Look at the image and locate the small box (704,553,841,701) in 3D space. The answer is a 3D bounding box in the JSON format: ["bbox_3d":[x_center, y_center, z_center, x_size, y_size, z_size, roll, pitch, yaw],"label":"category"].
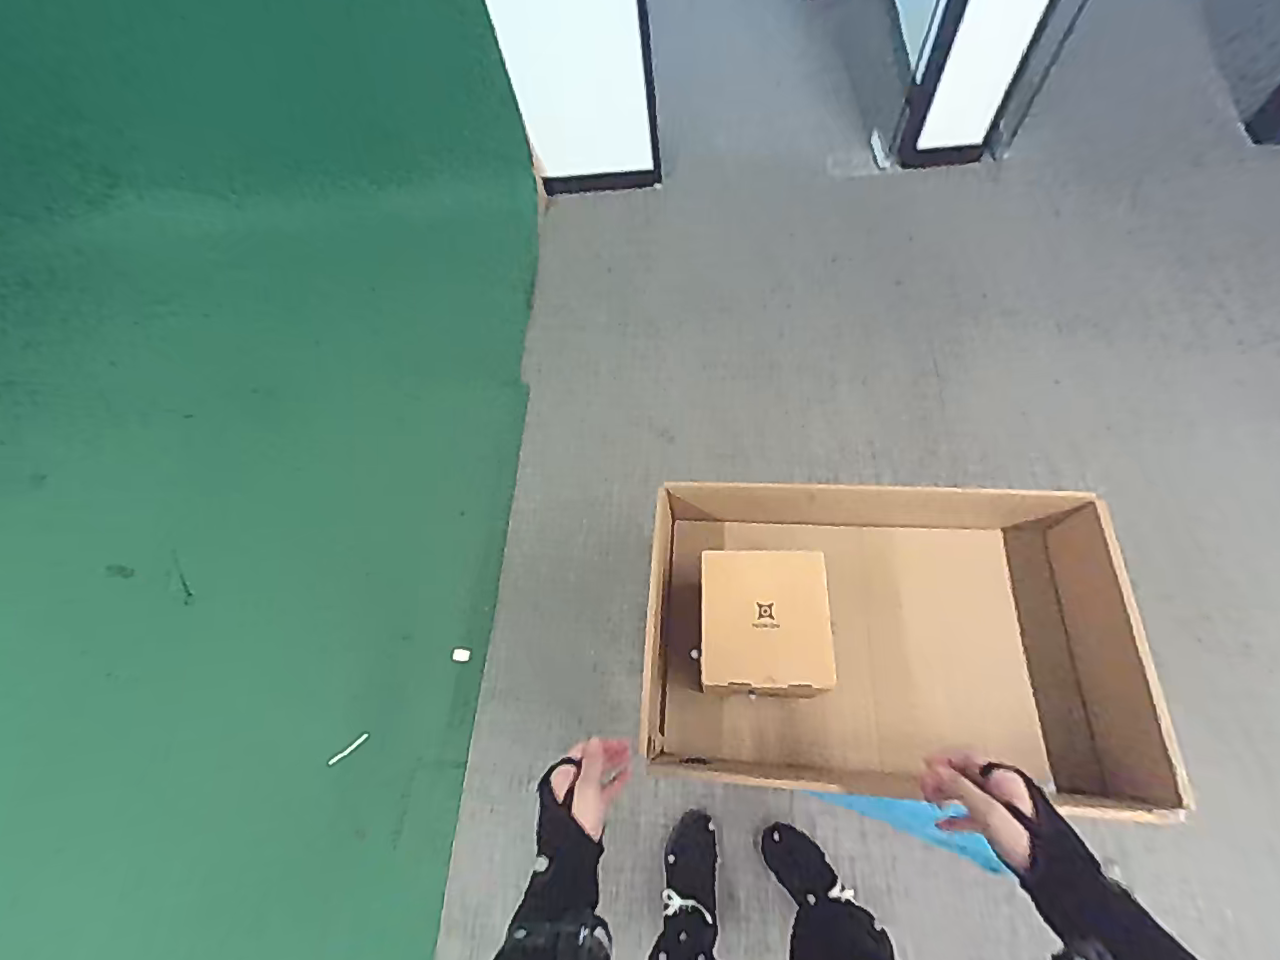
[{"bbox_3d":[0.176,0.213,0.770,0.168,0.176,0.179,0,66,7],"label":"small box"}]
